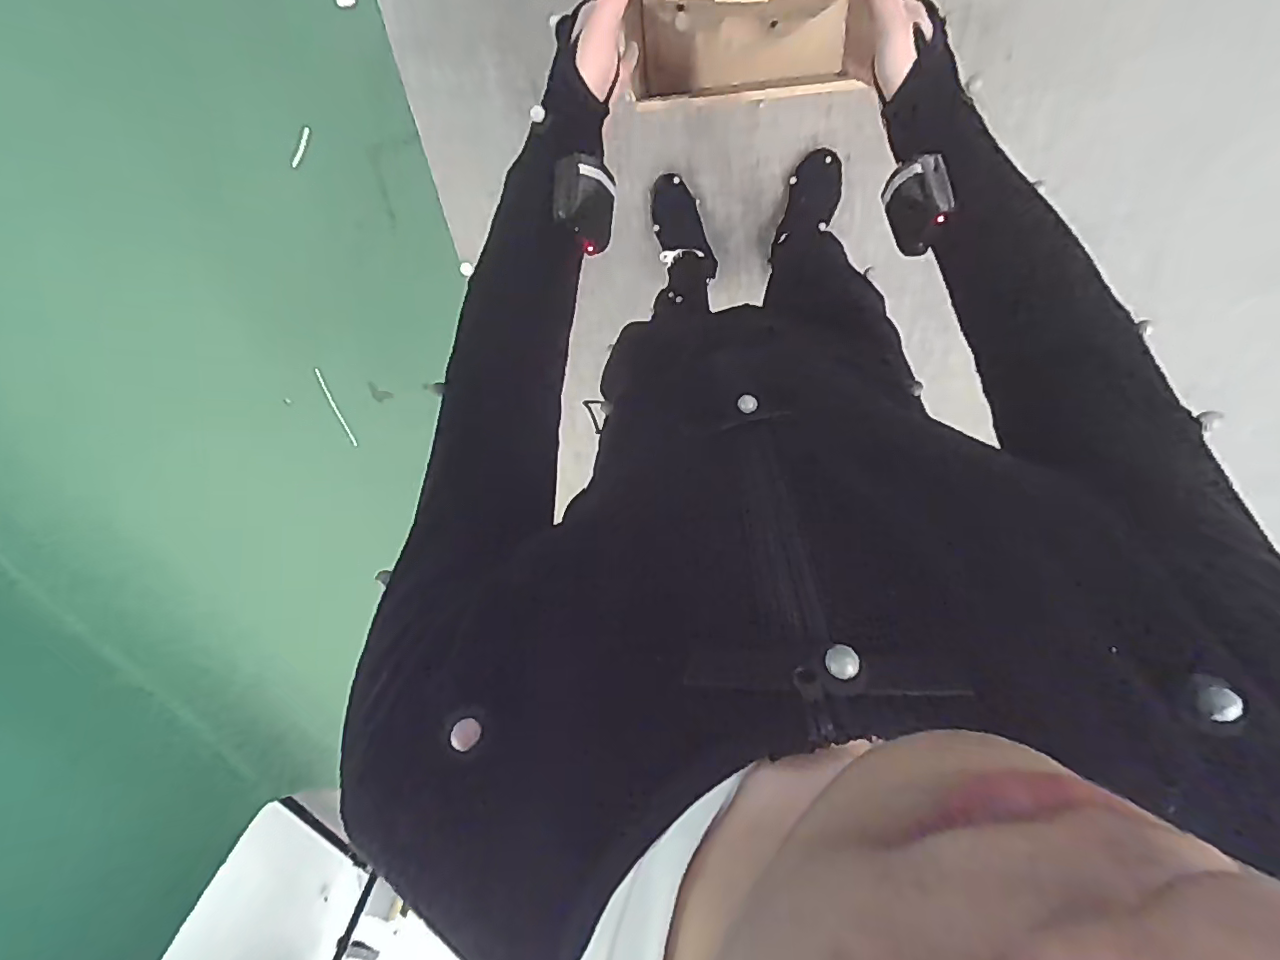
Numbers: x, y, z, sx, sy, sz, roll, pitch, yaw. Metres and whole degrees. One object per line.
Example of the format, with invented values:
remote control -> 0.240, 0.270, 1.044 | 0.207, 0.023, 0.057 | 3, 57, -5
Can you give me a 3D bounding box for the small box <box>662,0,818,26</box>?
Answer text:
small box -> 0.116, -0.606, 0.581 | 0.168, 0.176, 0.179 | 5, 126, 6
